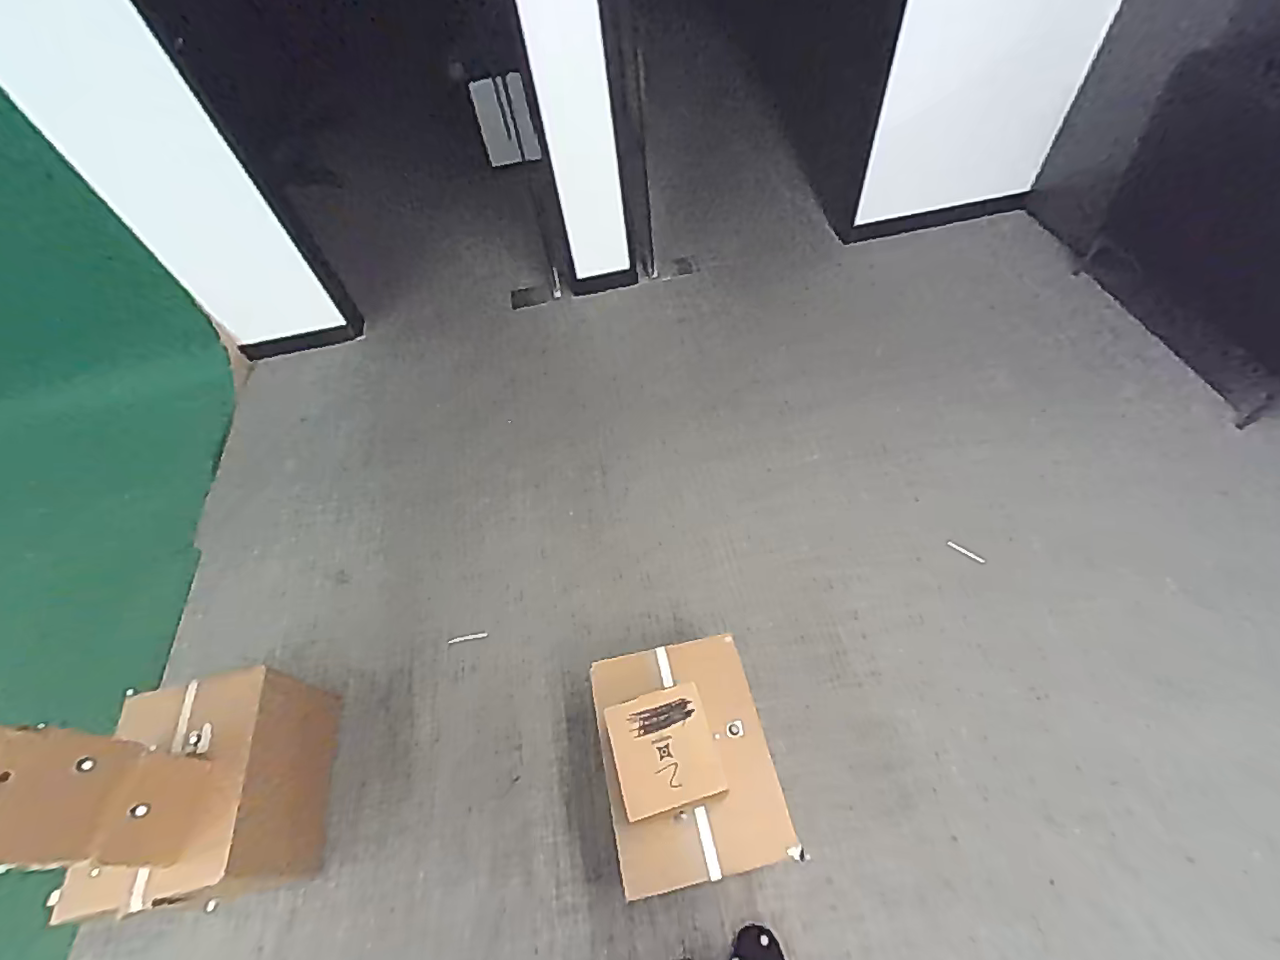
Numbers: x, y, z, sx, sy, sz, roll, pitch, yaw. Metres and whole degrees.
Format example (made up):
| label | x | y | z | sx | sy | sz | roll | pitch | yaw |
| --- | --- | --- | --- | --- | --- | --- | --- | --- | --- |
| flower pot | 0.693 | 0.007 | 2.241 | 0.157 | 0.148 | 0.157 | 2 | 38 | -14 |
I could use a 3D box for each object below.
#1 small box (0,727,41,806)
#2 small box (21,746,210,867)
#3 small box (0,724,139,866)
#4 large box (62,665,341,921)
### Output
| label | x | y | z | sx | sy | sz | roll | pitch | yaw |
| --- | --- | --- | --- | --- | --- | --- | --- | --- | --- |
| small box | -0.988 | 0.408 | 0.715 | 0.179 | 0.176 | 0.168 | -1 | 56 | 7 |
| small box | -0.939 | 0.593 | 0.980 | 0.168 | 0.176 | 0.179 | -4 | 56 | 5 |
| small box | -0.962 | 0.495 | 0.852 | 0.168 | 0.176 | 0.179 | -2 | 57 | 7 |
| large box | -0.918 | 0.688 | 1.208 | 0.320 | 0.320 | 0.408 | -13 | 54 | -2 |
